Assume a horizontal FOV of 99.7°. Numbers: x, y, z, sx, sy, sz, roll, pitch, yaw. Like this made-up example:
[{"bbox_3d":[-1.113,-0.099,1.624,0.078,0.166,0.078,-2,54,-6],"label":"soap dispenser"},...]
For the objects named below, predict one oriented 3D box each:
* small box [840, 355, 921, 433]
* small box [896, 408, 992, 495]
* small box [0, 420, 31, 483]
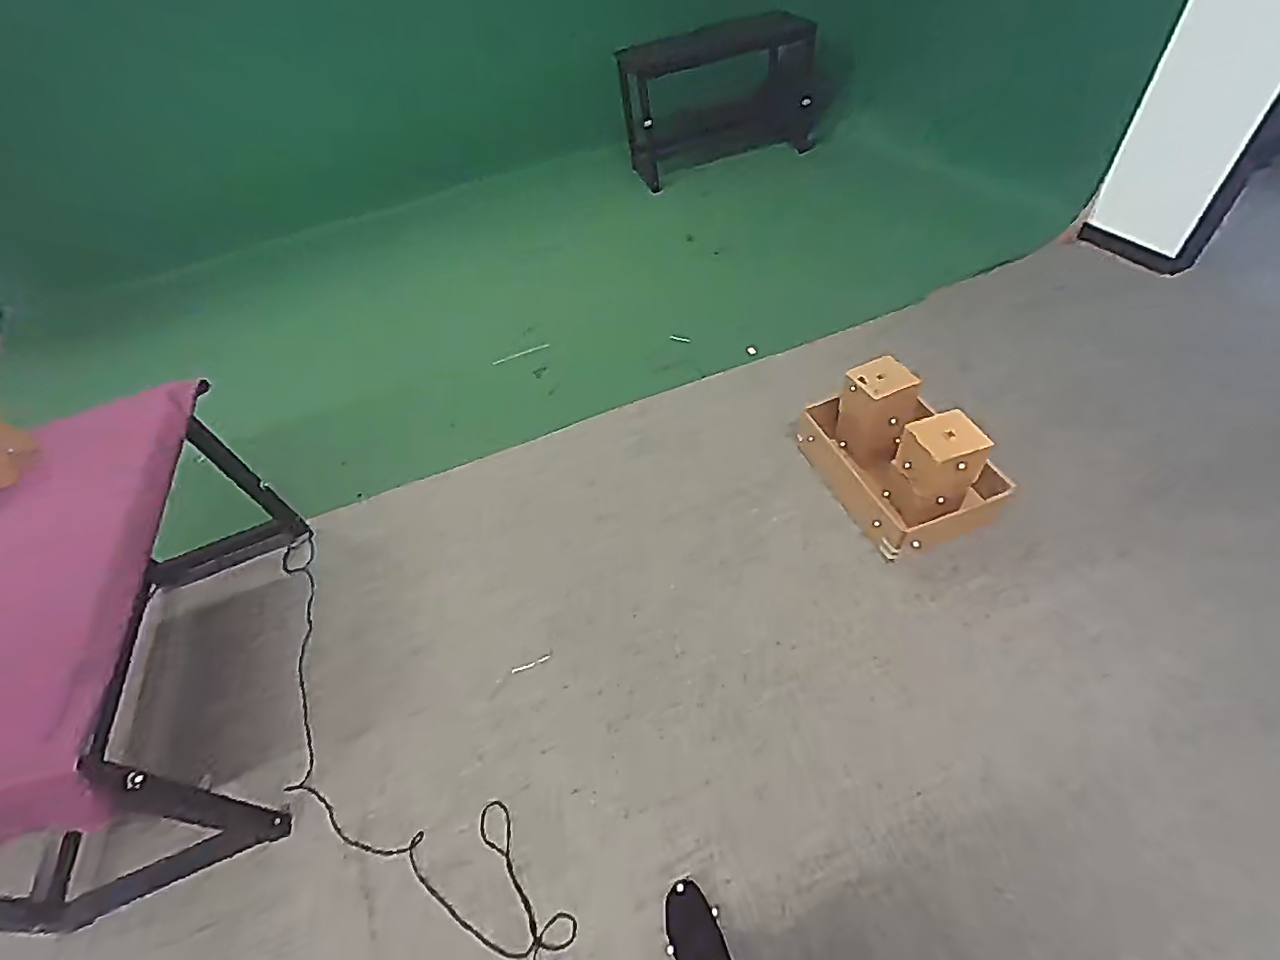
[{"bbox_3d":[0.803,-0.289,1.826,0.179,0.176,0.168,-21,49,-8],"label":"small box"},{"bbox_3d":[0.908,-0.083,1.635,0.179,0.176,0.168,-17,50,-2],"label":"small box"},{"bbox_3d":[-1.824,-0.077,1.444,0.179,0.176,0.168,-19,52,-7],"label":"small box"}]
